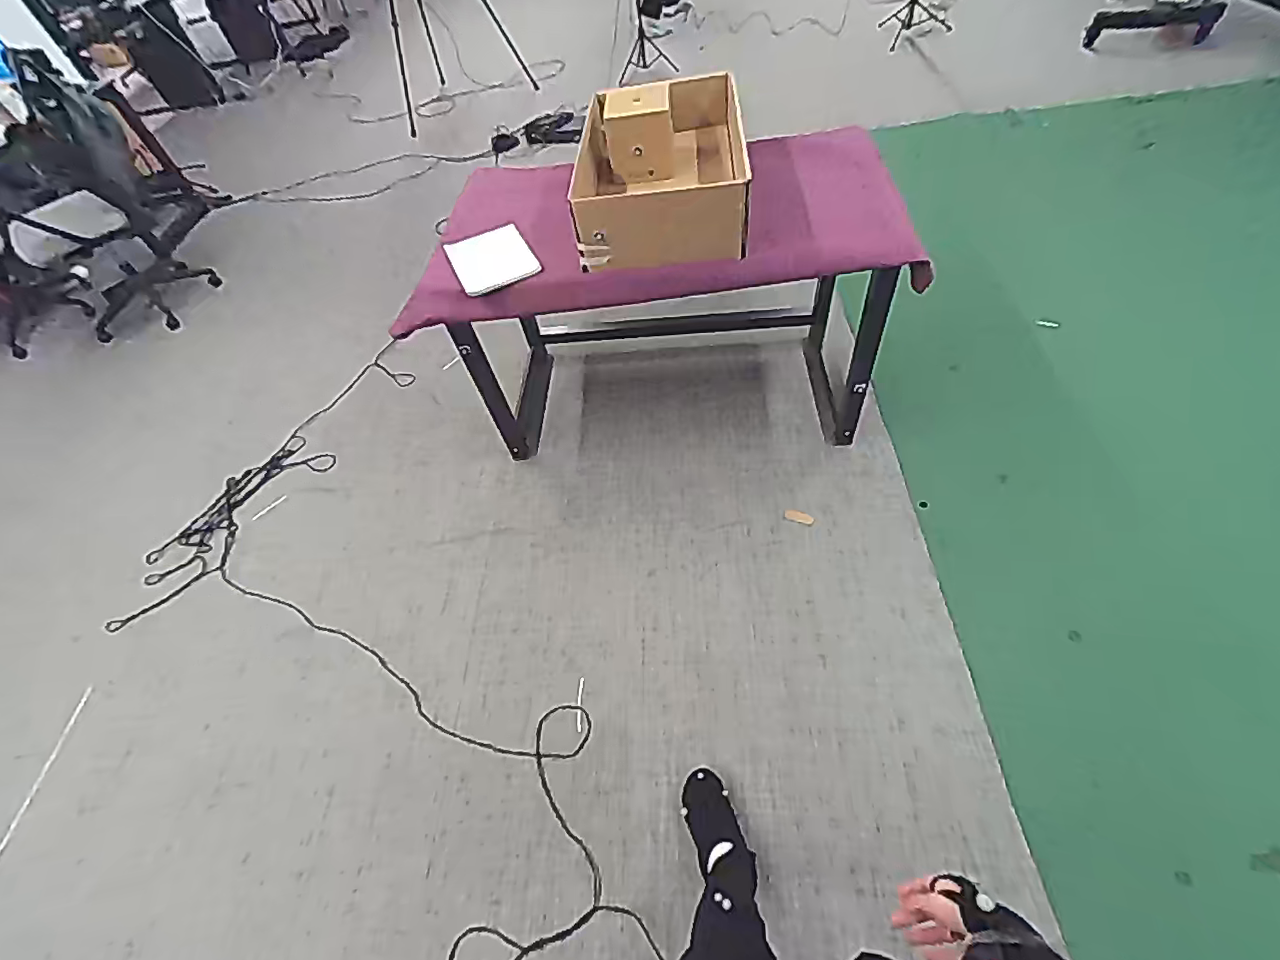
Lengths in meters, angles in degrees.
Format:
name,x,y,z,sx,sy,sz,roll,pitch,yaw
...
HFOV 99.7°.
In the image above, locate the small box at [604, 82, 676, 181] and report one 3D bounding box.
name,x,y,z,sx,sy,sz,roll,pitch,yaw
small box,0.007,-0.920,1.441,0.168,0.176,0.179,-2,55,8
